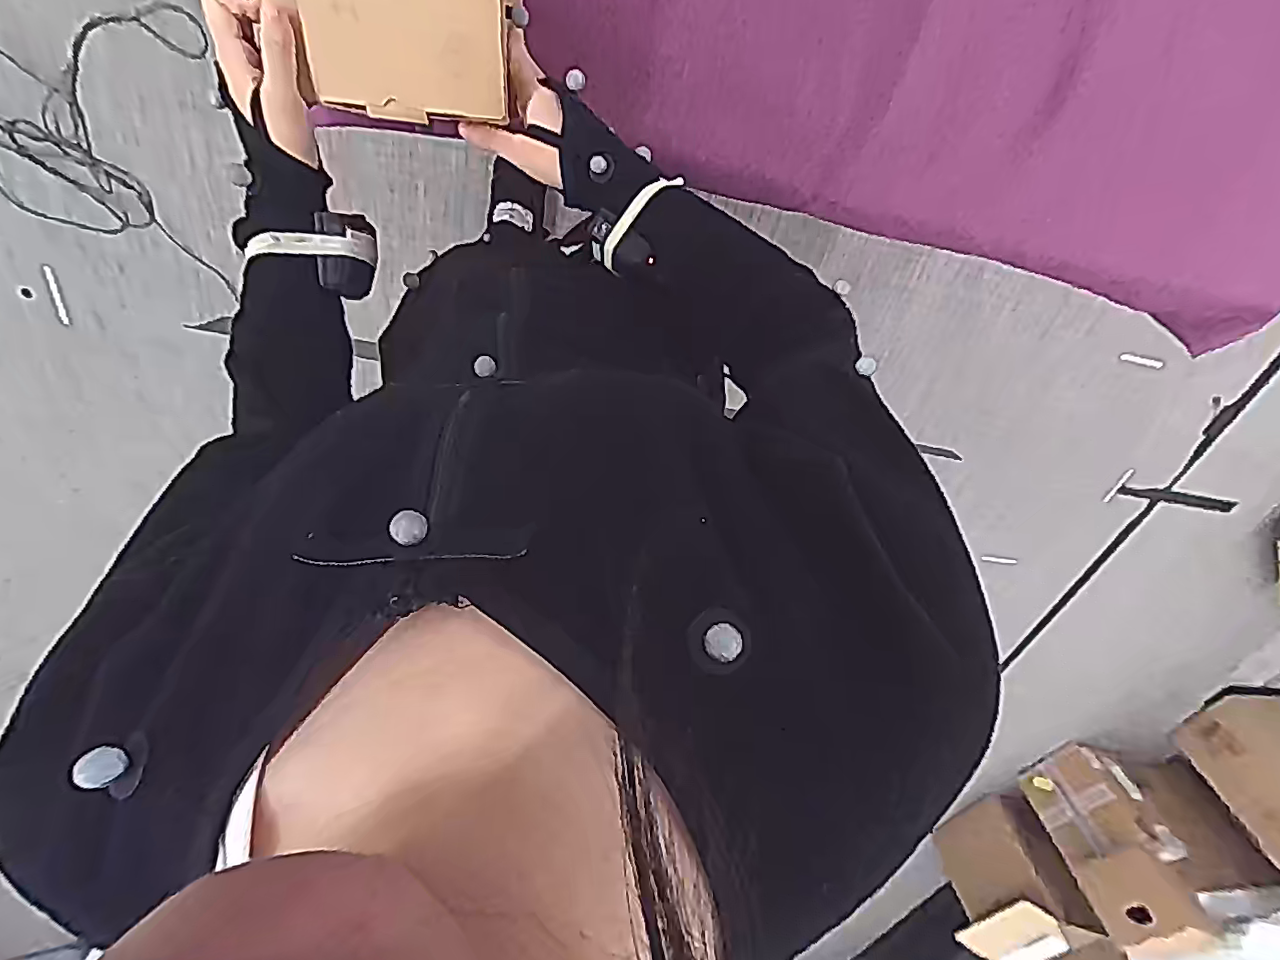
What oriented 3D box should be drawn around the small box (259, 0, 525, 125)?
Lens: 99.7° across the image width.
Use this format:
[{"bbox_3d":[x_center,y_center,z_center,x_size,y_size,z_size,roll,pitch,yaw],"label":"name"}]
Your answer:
[{"bbox_3d":[-0.183,-0.398,0.428,0.168,0.176,0.179,2,126,-7],"label":"small box"}]
